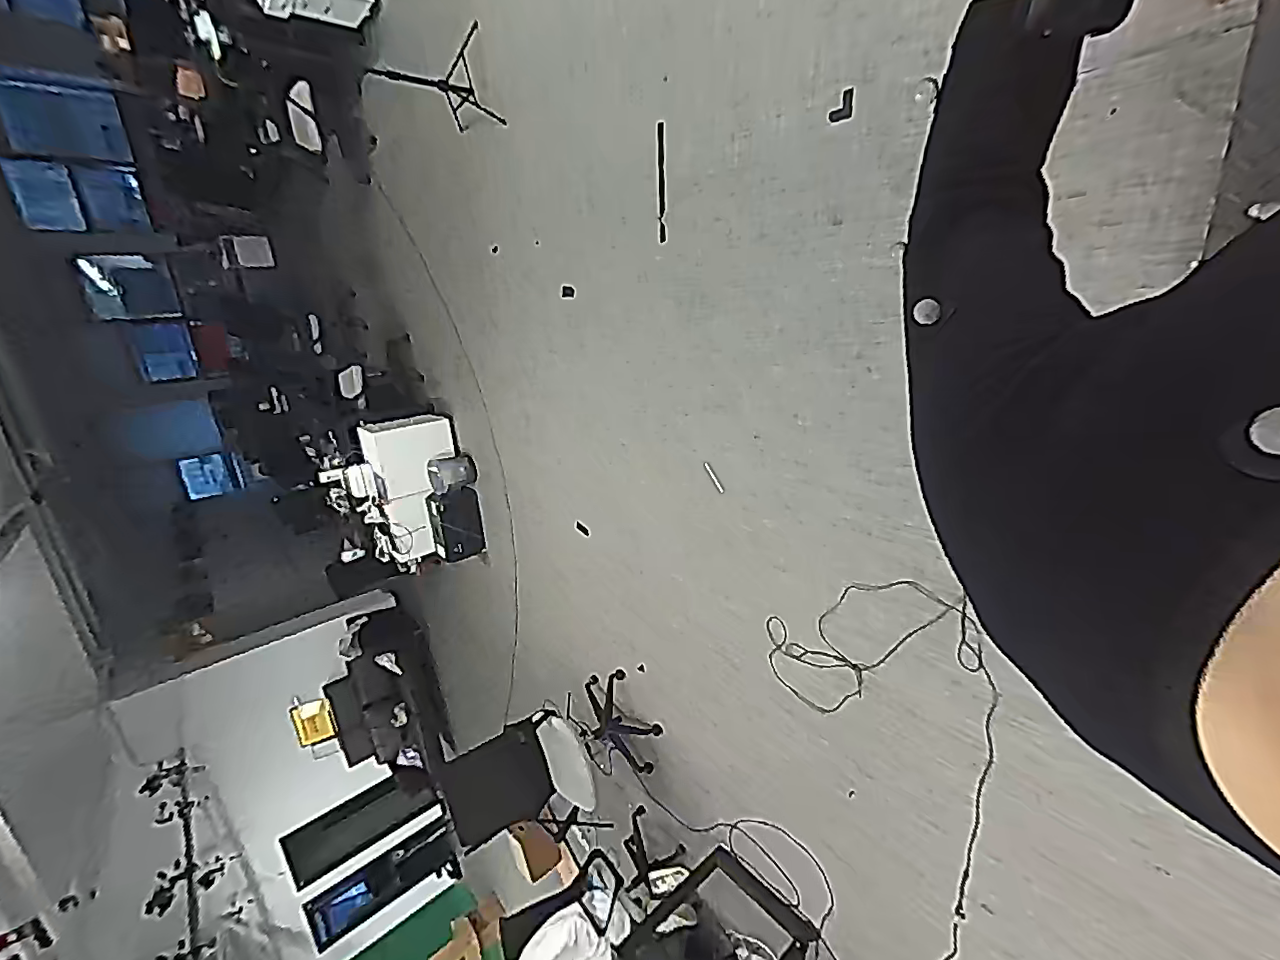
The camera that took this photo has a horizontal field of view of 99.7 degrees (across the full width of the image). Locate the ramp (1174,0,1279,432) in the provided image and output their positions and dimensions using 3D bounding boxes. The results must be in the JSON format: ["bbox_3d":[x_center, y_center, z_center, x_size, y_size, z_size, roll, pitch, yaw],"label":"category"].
[{"bbox_3d":[1.188,-0.517,0.764,0.509,0.206,0.991,14,116,47],"label":"ramp"}]
